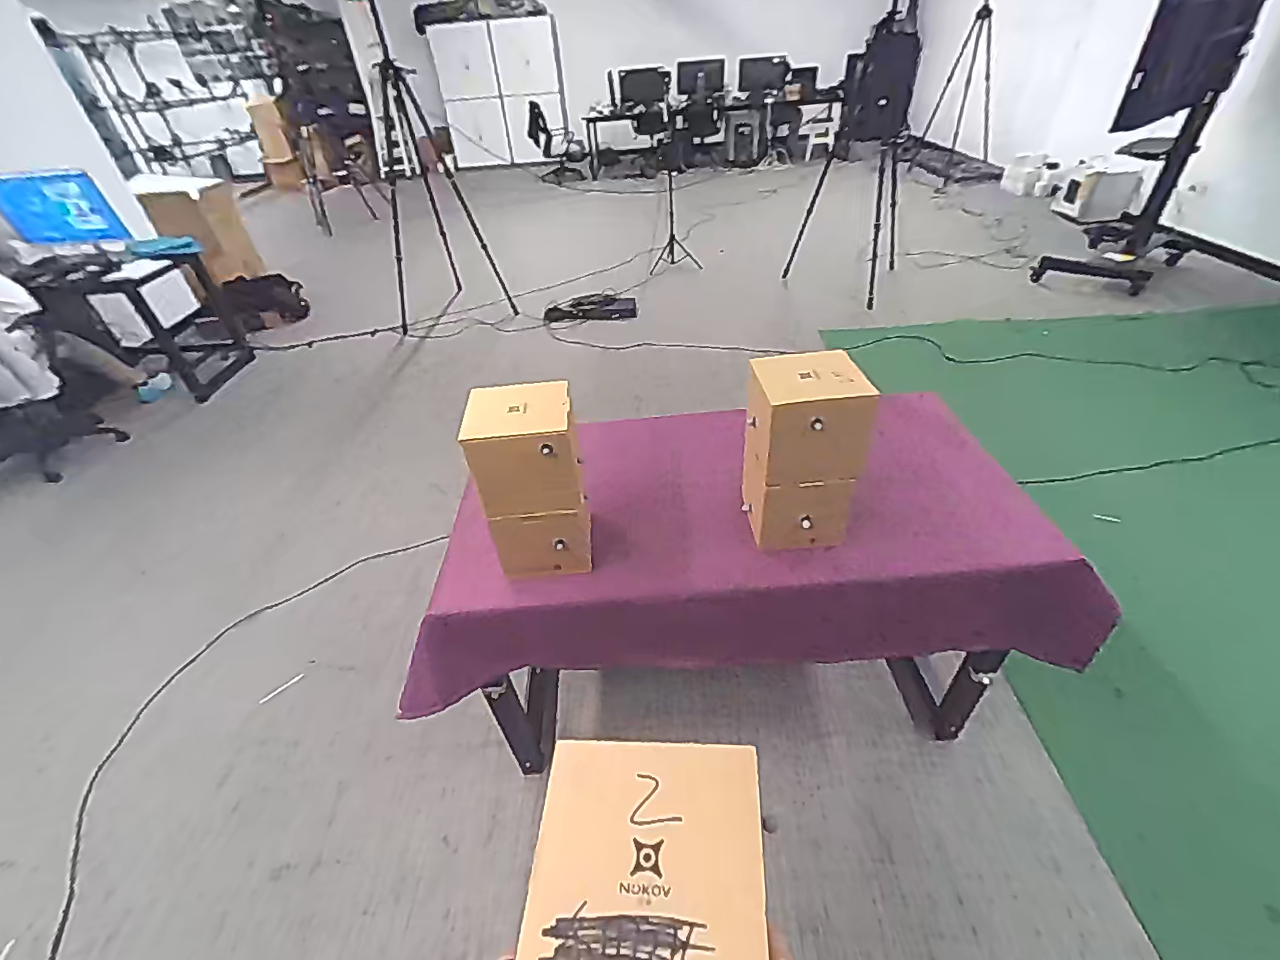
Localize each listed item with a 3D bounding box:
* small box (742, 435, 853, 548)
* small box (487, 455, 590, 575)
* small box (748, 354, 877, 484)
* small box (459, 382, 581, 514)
[{"bbox_3d":[0.300,0.021,1.070,0.168,0.176,0.179,-4,40,0],"label":"small box"},{"bbox_3d":[-0.187,0.071,1.058,0.168,0.176,0.179,-4,38,-2],"label":"small box"},{"bbox_3d":[0.292,-0.106,0.964,0.179,0.176,0.168,-5,39,0],"label":"small box"},{"bbox_3d":[-0.201,-0.055,0.956,0.179,0.176,0.168,-5,39,-4],"label":"small box"}]
